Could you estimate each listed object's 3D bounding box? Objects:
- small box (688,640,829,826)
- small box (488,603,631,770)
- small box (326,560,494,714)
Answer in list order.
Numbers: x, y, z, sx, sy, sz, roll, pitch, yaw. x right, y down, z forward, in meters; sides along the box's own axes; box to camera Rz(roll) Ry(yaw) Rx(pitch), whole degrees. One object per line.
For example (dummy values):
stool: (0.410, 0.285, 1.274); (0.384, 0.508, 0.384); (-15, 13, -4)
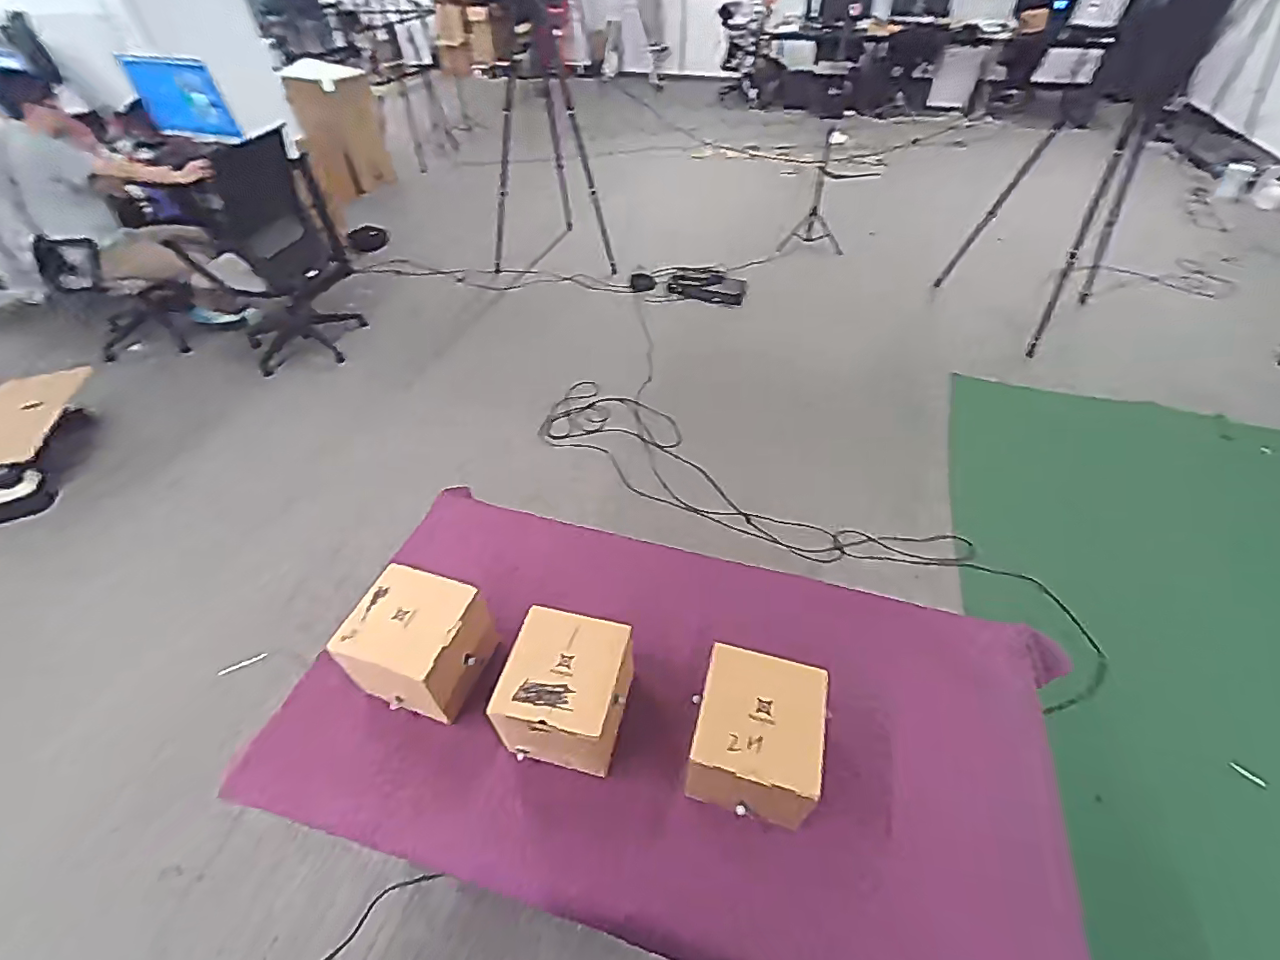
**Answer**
small box: (0.169, 0.371, 0.793); (0.168, 0.176, 0.179); (12, 48, 13)
small box: (-0.110, 0.323, 0.842); (0.168, 0.176, 0.179); (10, 46, 10)
small box: (-0.365, 0.265, 0.900); (0.179, 0.176, 0.168); (14, 48, 12)
